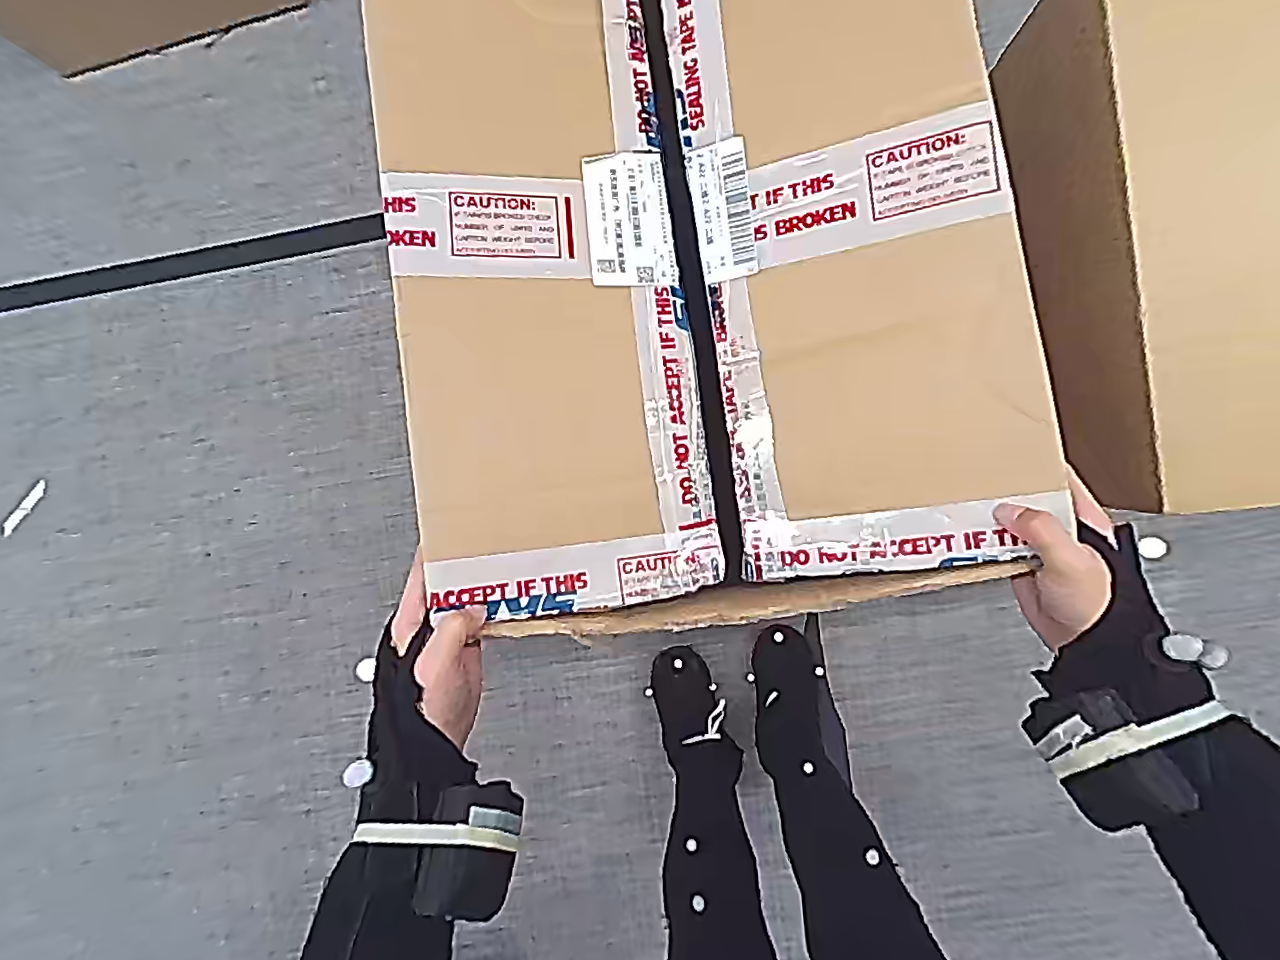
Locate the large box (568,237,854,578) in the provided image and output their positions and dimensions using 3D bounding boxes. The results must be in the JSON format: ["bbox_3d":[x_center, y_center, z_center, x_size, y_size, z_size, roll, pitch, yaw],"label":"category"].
[{"bbox_3d":[0.096,-0.093,0.844,0.320,0.320,0.408,-9,90,4],"label":"large box"}]
